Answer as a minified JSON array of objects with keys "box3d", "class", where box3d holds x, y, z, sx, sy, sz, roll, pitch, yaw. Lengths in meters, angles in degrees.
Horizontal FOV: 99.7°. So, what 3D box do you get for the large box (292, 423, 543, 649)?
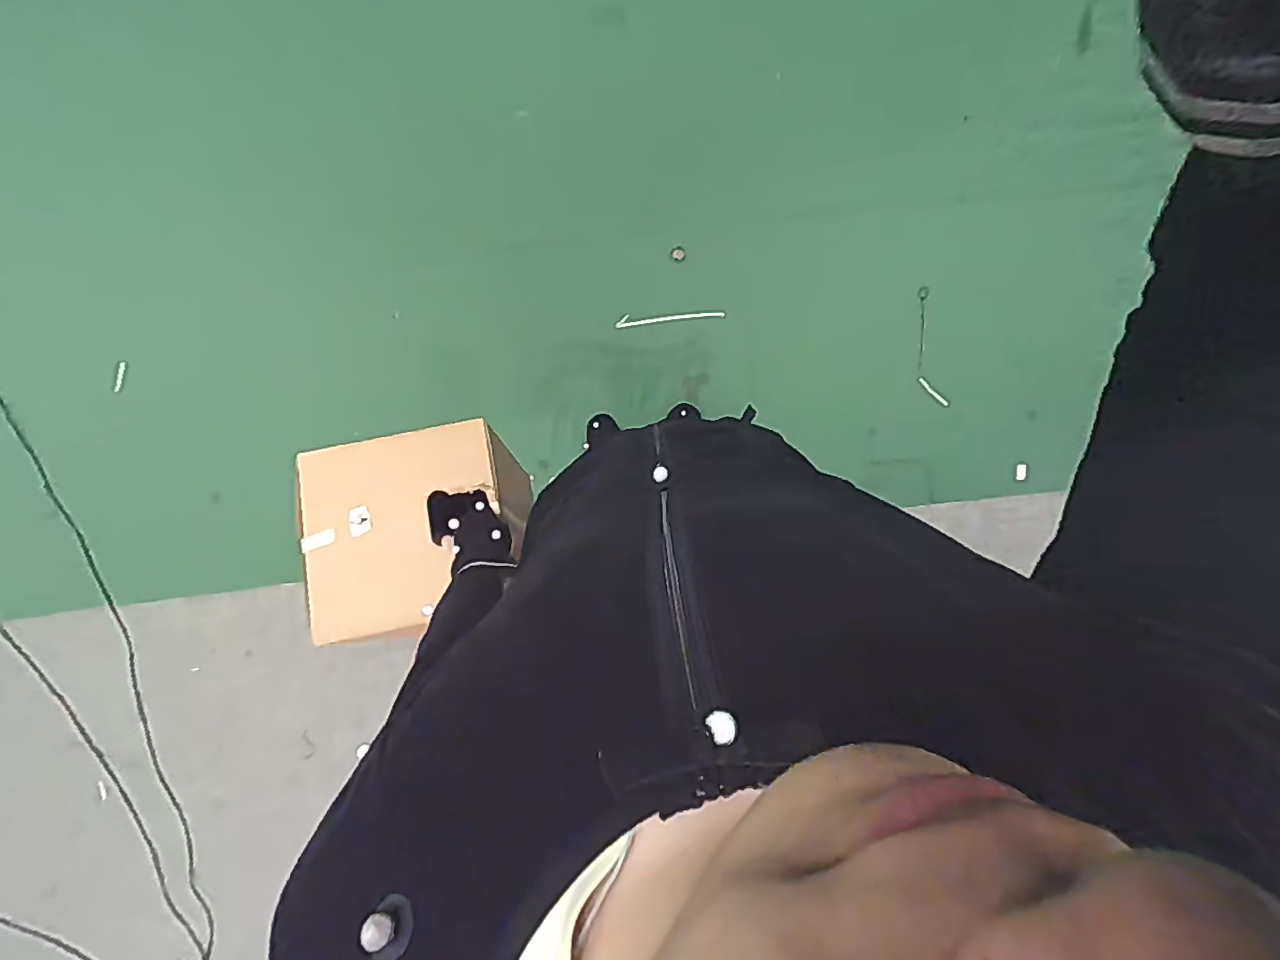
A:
[{"box3d":[-0.392,0.121,1.041,0.320,0.408,0.320,-11,77,-5],"class":"large box"}]
